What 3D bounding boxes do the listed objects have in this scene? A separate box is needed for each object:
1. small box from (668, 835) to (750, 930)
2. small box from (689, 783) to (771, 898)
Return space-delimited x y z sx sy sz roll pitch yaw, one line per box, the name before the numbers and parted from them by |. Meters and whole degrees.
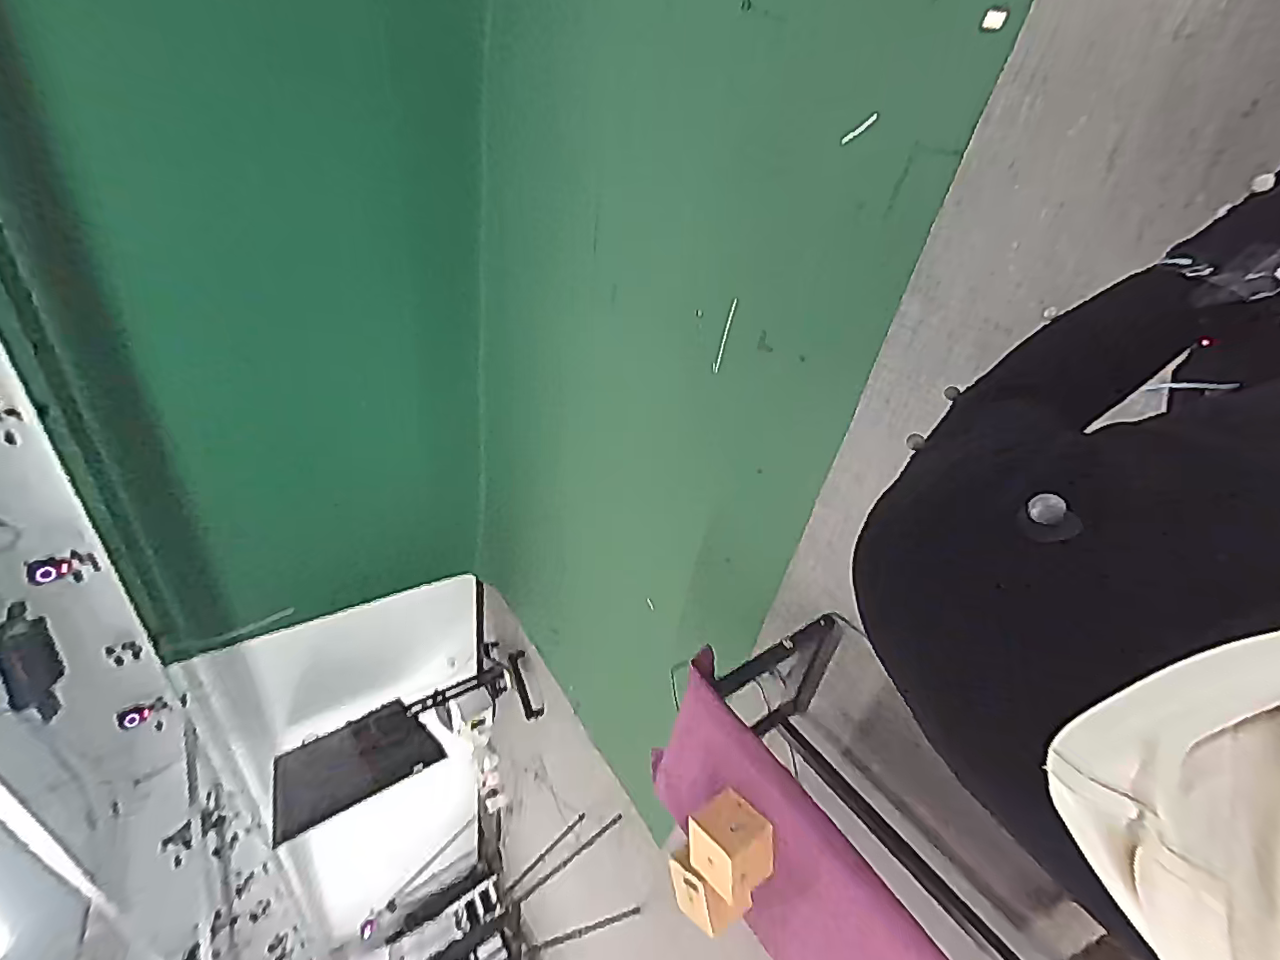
small box | 0.214 1.208 1.669 0.168 0.176 0.179 -6 98 55
small box | 0.257 1.016 1.542 0.168 0.176 0.179 18 117 50
